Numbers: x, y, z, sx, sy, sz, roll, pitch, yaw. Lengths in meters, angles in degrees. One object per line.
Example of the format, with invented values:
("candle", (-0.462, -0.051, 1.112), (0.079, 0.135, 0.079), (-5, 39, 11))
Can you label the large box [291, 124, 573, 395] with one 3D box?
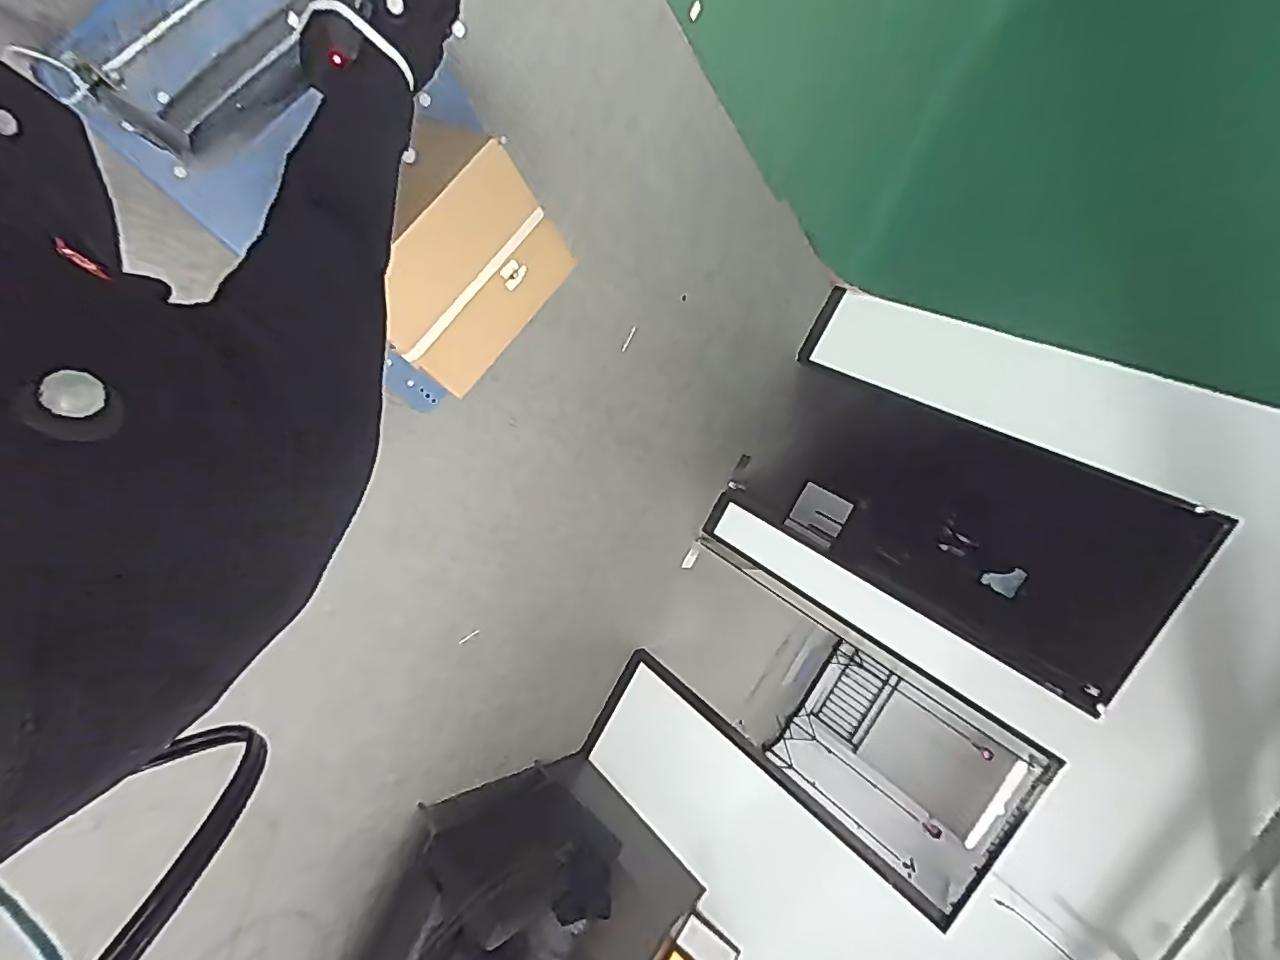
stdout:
("large box", (-0.429, -0.464, 1.145), (0.408, 0.320, 0.320), (-53, 147, -8))
